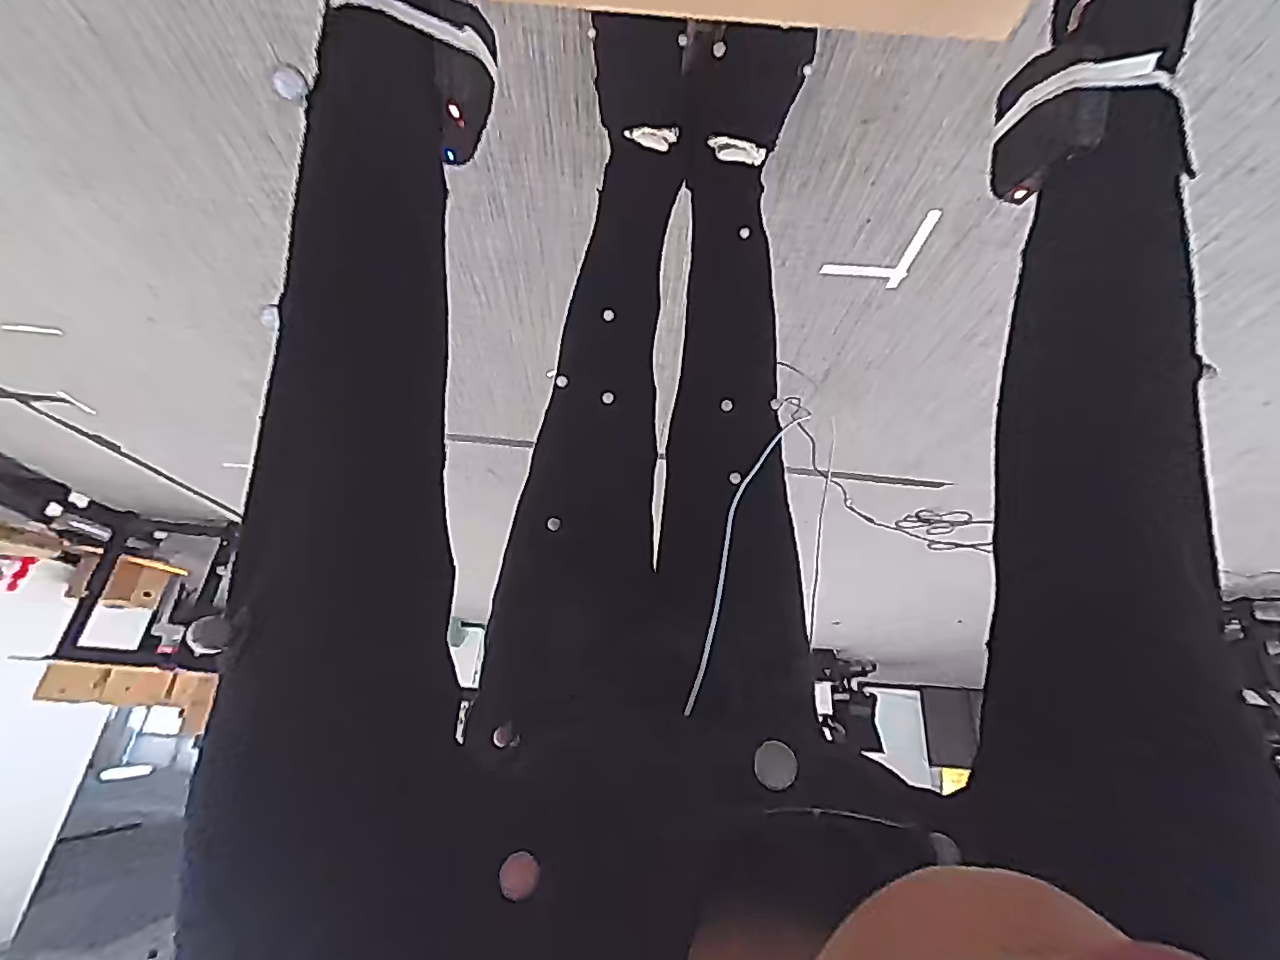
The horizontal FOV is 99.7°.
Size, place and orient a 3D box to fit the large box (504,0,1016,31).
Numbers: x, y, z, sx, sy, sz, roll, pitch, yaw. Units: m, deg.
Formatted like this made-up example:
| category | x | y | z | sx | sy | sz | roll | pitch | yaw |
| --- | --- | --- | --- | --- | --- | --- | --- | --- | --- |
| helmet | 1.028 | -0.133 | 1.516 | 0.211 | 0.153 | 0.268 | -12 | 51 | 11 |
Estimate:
| category | x | y | z | sx | sy | sz | roll | pitch | yaw |
| --- | --- | --- | --- | --- | --- | --- | --- | --- | --- |
| large box | 0.096 | -0.563 | 0.349 | 0.408 | 0.320 | 0.320 | 4 | 157 | 0 |
